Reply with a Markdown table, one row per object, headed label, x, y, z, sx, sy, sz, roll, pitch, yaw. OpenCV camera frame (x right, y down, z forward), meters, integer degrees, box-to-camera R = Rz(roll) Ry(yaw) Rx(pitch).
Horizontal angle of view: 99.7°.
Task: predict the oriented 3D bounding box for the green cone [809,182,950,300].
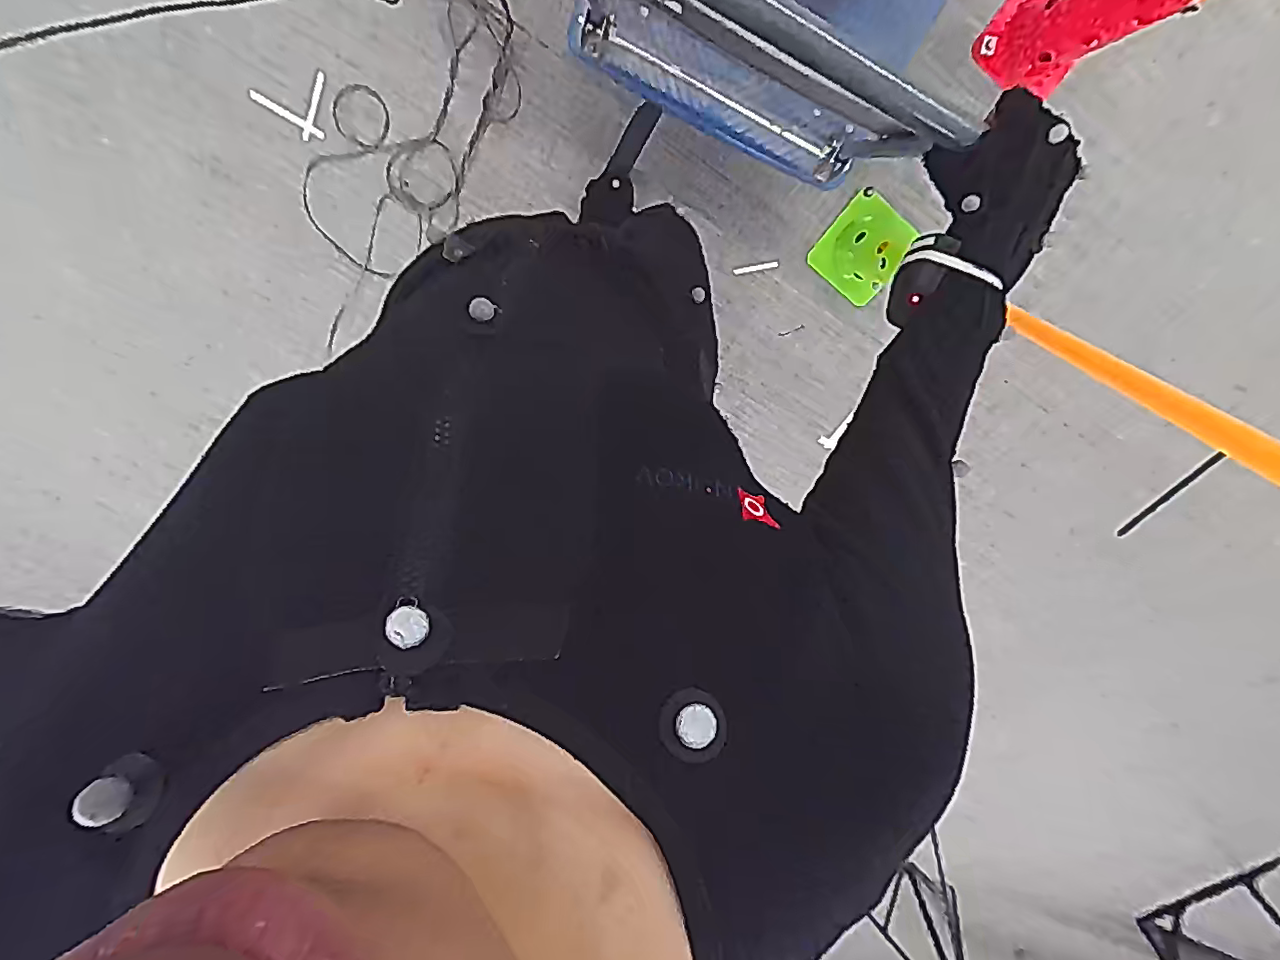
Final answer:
| label | x | y | z | sx | sy | sz | roll | pitch | yaw |
| --- | --- | --- | --- | --- | --- | --- | --- | --- | --- |
| green cone | 0.529 | -0.467 | 1.124 | 0.202 | 0.368 | 0.200 | 31 | 116 | -18 |

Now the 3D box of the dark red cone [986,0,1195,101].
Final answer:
| label | x | y | z | sx | sy | sz | roll | pitch | yaw |
| --- | --- | --- | --- | --- | --- | --- | --- | --- | --- |
| dark red cone | 0.804 | -0.802 | 0.906 | 0.201 | 0.394 | 0.202 | 27 | 117 | -17 |
